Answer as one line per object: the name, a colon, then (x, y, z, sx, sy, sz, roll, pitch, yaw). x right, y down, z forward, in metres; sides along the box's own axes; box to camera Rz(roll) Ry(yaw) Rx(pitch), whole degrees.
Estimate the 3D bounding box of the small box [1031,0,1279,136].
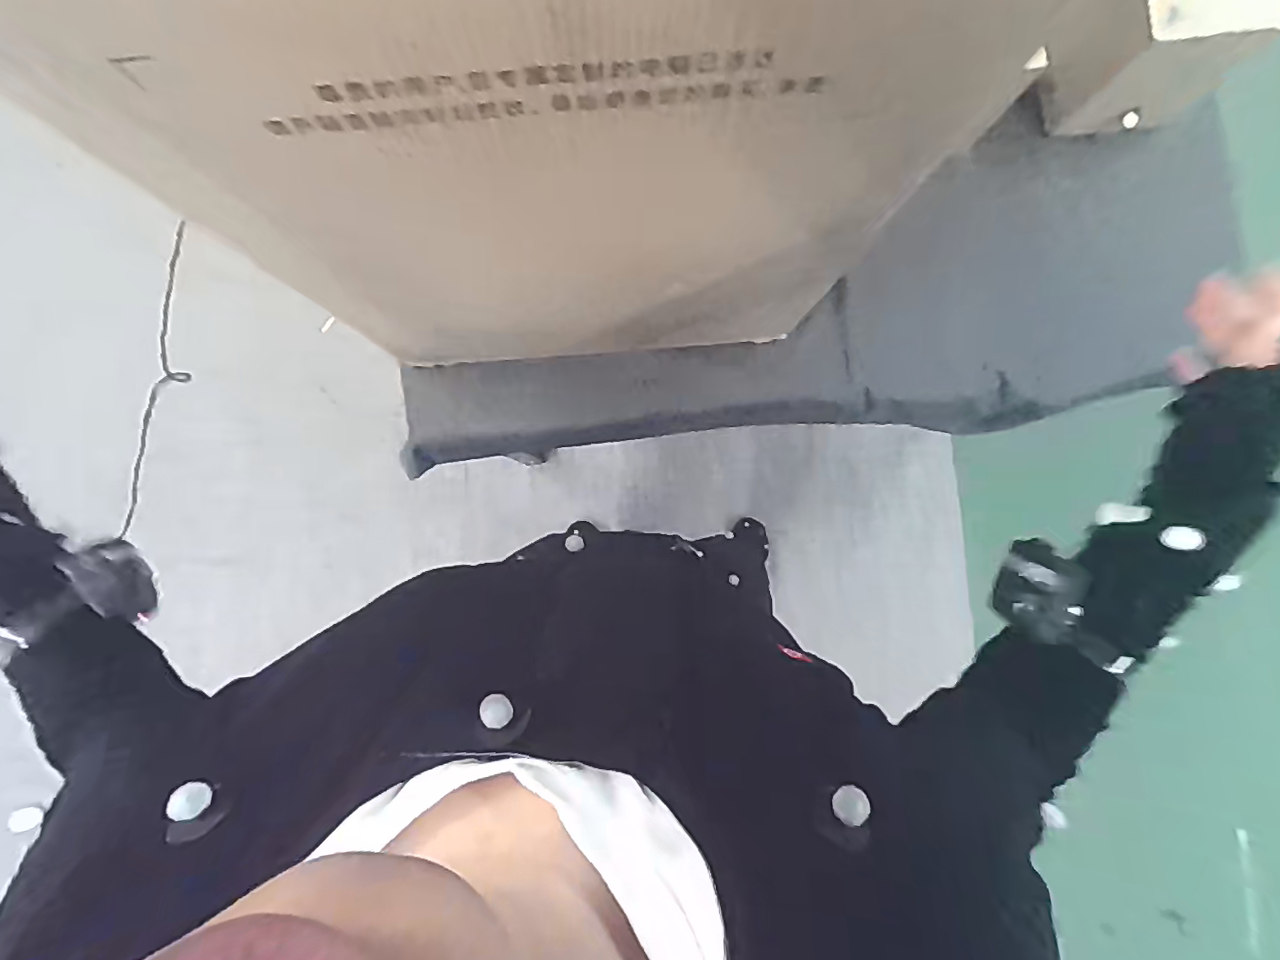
small box: (0.670, -0.591, 0.716, 0.179, 0.176, 0.168, -6, 87, -2)
